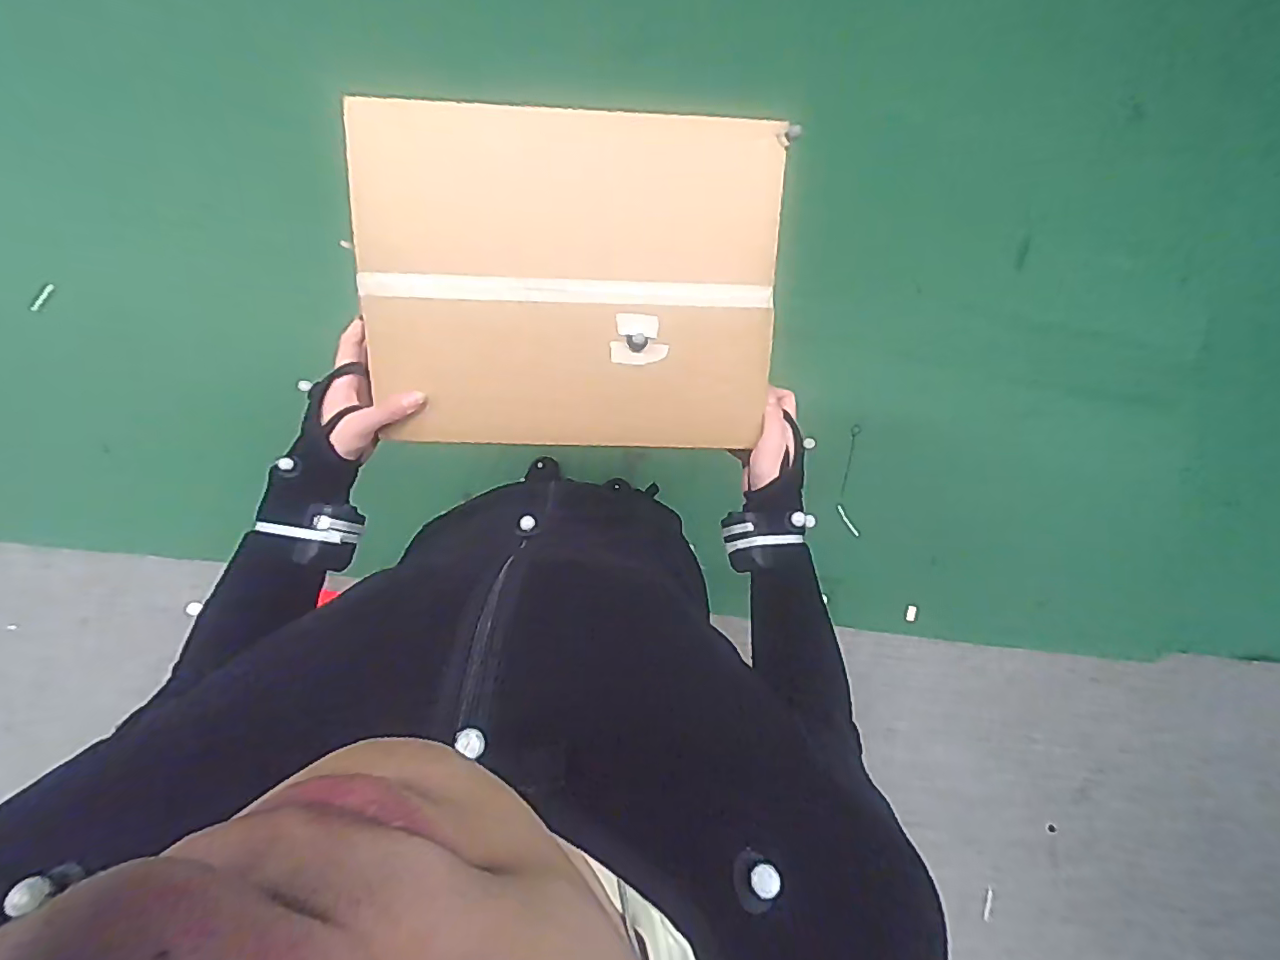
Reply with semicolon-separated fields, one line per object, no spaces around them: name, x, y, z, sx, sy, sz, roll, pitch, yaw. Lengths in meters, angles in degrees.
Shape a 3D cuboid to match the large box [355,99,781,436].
large box;-0.076;-0.234;0.684;0.408;0.320;0.320;1;106;-4
